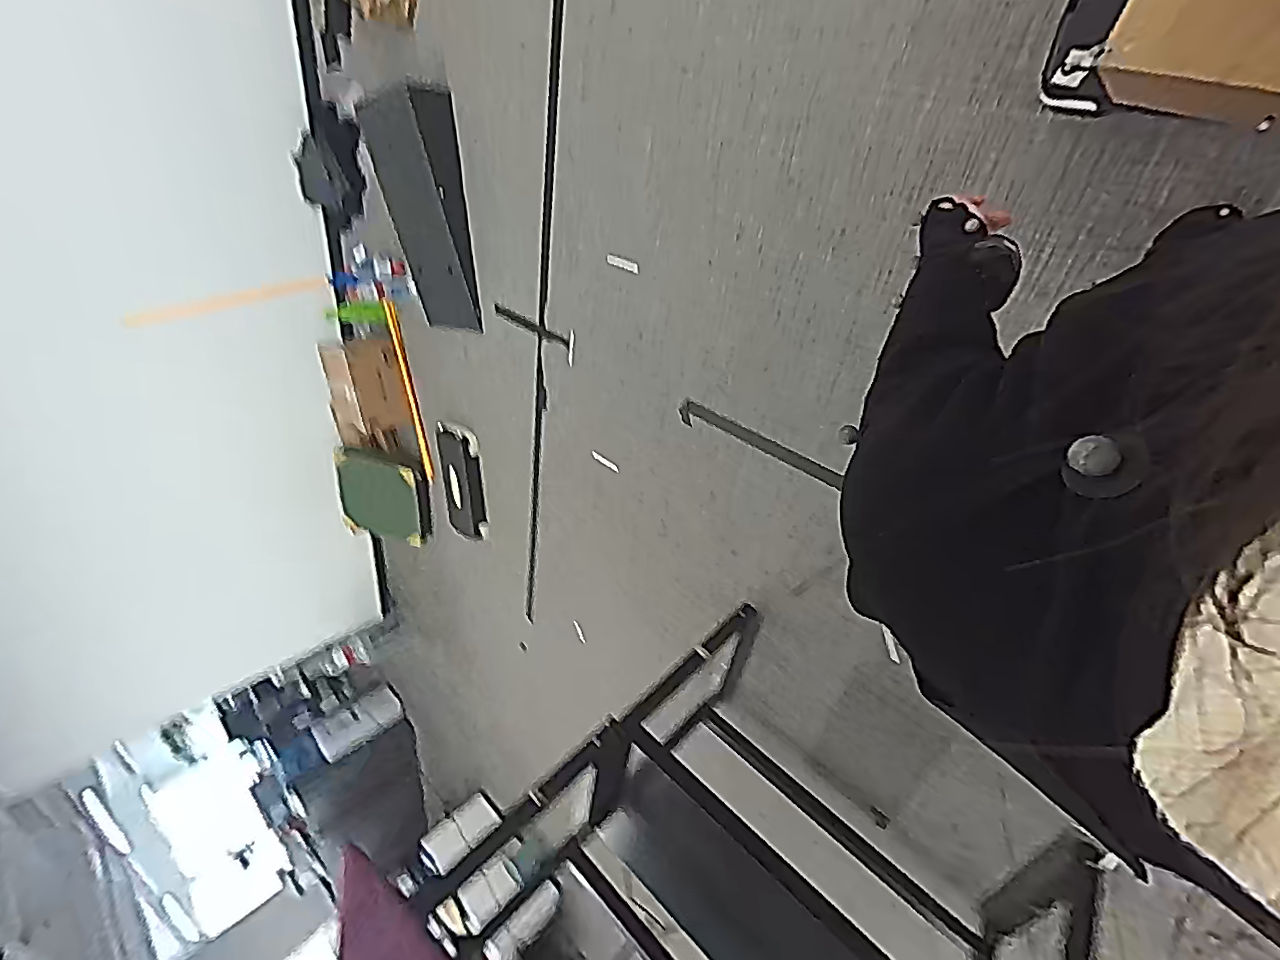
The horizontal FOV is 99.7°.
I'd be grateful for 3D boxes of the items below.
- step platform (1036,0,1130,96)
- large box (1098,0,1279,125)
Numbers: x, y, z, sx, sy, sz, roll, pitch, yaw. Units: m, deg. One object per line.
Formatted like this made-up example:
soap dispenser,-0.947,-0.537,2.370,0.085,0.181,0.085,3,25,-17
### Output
step platform,0.991,-0.678,0.780,0.684,0.204,0.286,38,131,27
large box,0.852,-0.594,0.604,0.408,0.320,0.320,37,130,28
